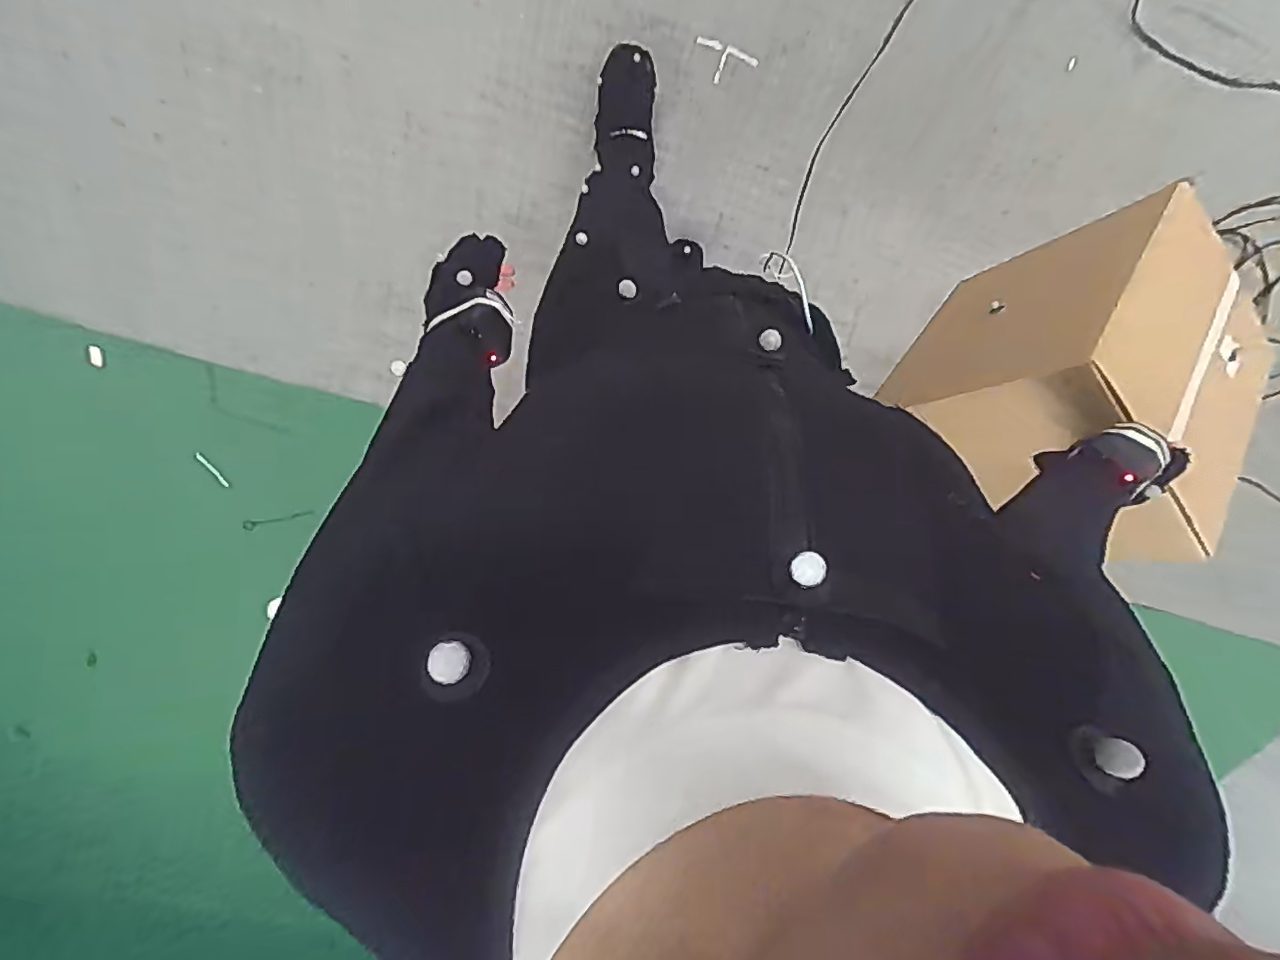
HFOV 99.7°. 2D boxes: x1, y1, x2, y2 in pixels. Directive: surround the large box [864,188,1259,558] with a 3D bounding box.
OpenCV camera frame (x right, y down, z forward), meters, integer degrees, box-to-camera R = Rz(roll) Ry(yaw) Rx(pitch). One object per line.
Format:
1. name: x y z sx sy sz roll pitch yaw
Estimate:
1. large box: 0.622 -0.130 0.816 0.320 0.320 0.408 48 66 -13
